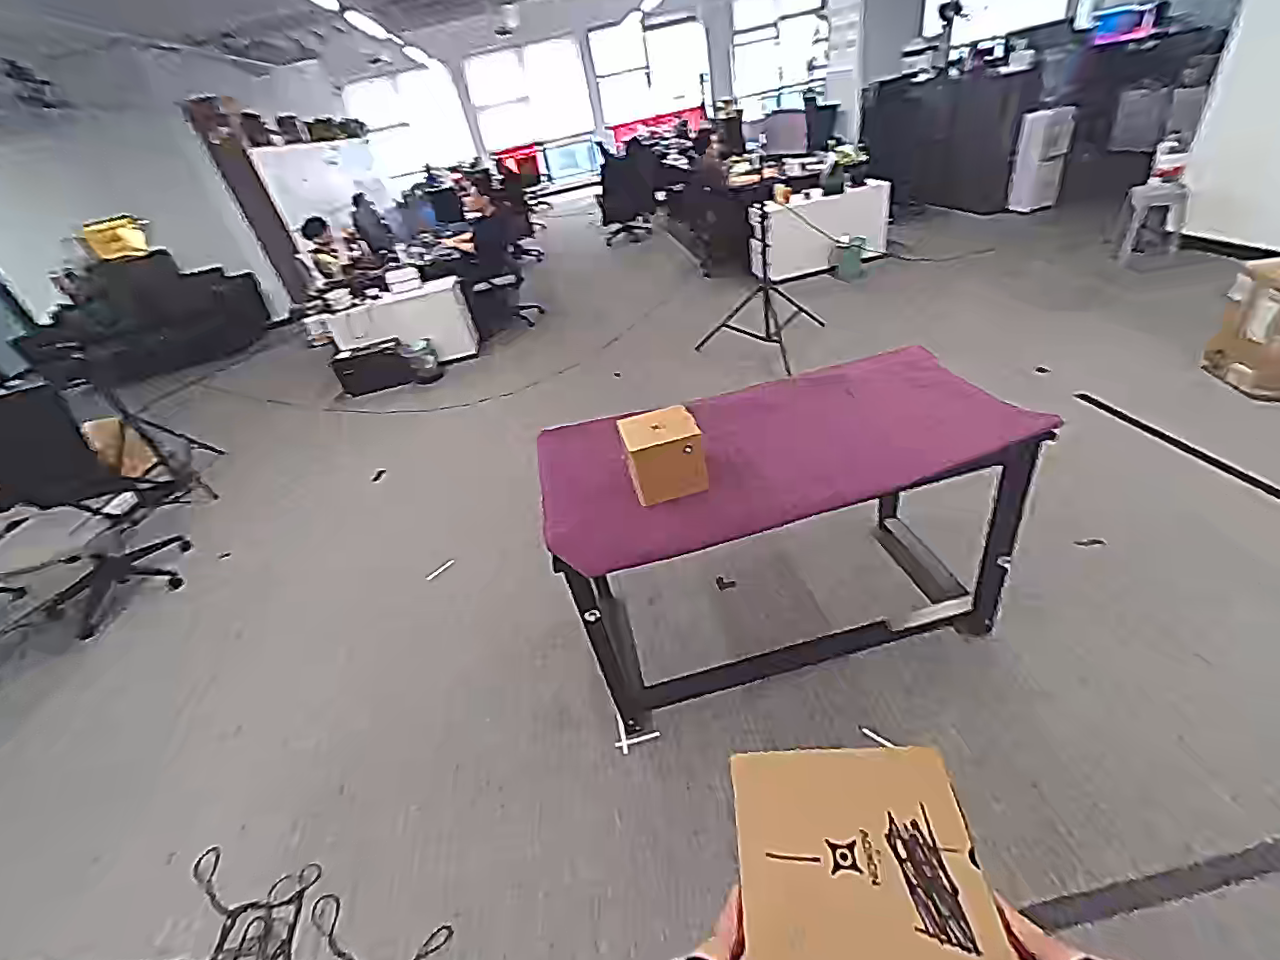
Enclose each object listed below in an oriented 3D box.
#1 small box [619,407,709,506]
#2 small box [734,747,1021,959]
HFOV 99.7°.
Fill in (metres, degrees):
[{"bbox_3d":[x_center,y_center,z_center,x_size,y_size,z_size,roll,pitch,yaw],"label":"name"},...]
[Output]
[{"bbox_3d":[0.061,-0.058,1.357,0.179,0.176,0.168,-15,34,-5],"label":"small box"},{"bbox_3d":[0.178,0.346,0.451,0.179,0.176,0.168,-8,36,9],"label":"small box"}]
